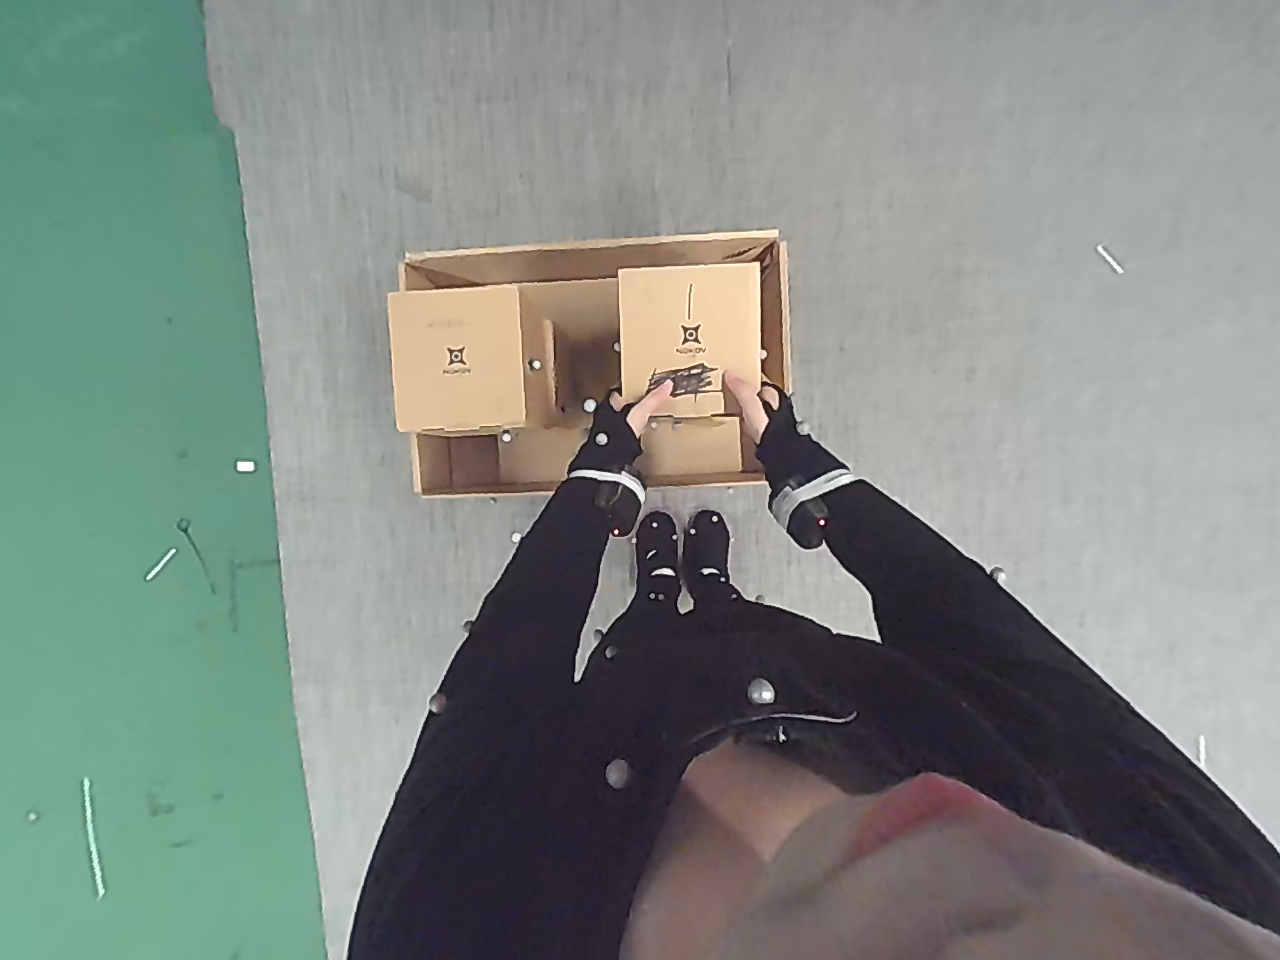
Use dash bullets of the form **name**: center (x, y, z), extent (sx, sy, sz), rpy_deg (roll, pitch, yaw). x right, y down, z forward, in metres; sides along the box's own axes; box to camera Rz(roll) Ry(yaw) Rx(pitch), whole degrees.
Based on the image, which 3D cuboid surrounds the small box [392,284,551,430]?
- **small box**: center (-0.223, -0.160, 0.756), extent (0.168, 0.176, 0.179), rpy_deg (-2, 93, 2)

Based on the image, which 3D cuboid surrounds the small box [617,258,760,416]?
- **small box**: center (0.063, -0.175, 0.707), extent (0.168, 0.176, 0.179), rpy_deg (-1, 96, 4)
